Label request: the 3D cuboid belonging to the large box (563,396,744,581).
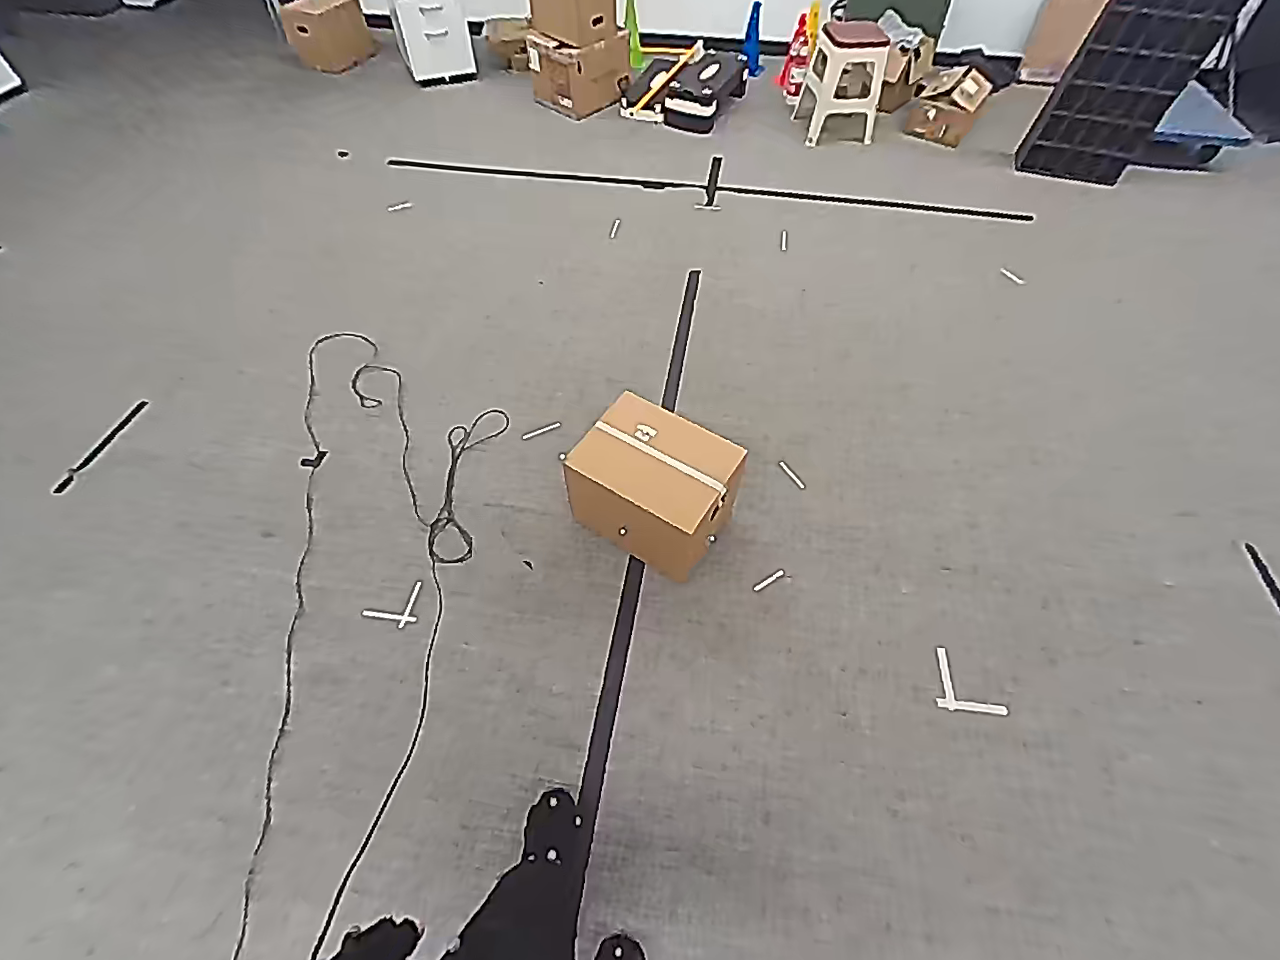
[{"bbox_3d":[0.042,0.028,1.582,0.408,0.320,0.320,28,59,18],"label":"large box"}]
